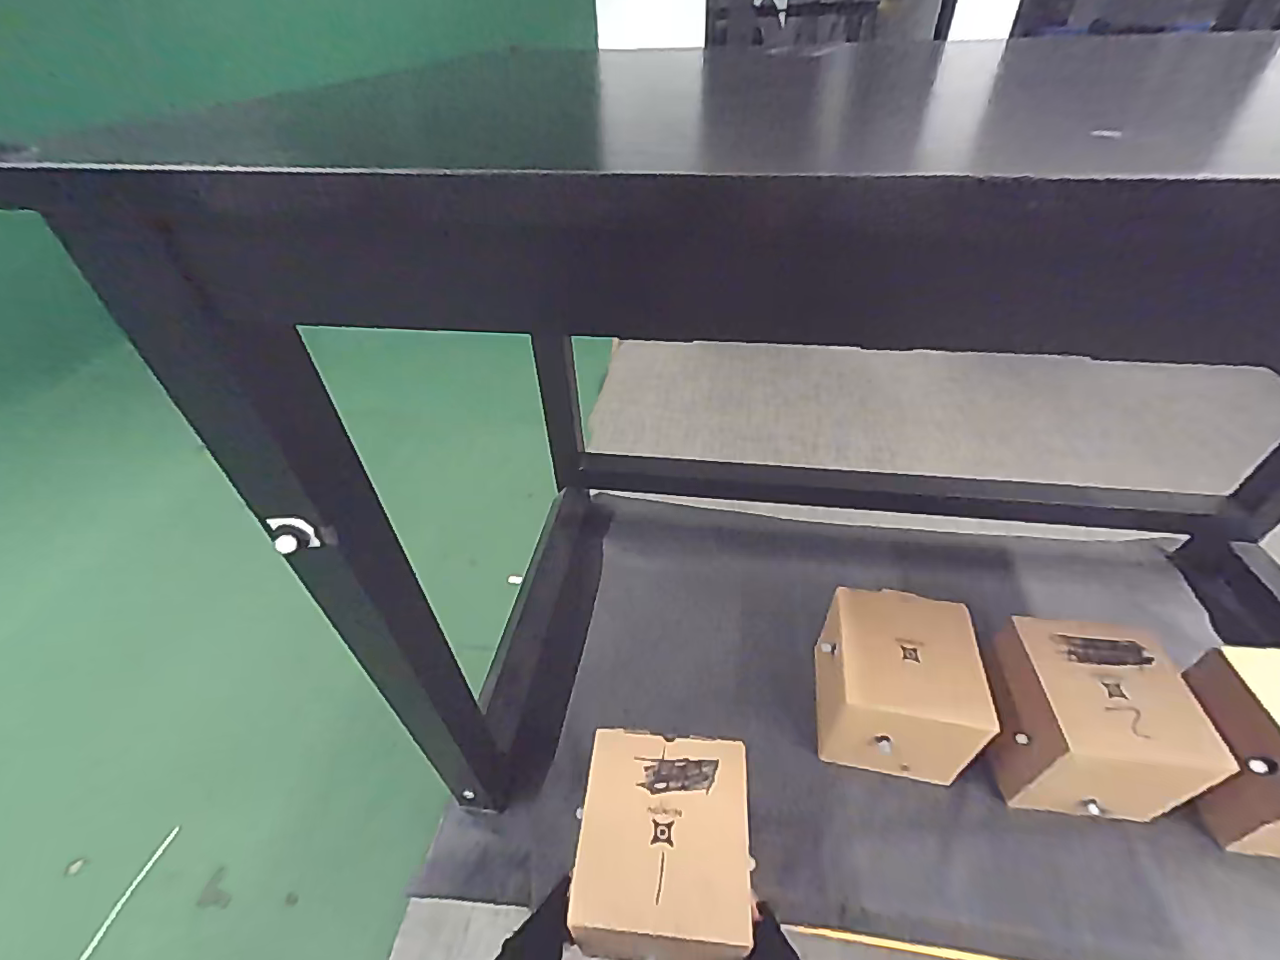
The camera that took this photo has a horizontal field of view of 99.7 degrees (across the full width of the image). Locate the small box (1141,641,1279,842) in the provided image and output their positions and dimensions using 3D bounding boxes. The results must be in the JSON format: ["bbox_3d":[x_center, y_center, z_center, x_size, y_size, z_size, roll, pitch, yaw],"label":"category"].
[{"bbox_3d":[0.776,0.320,0.648,0.168,0.176,0.179,3,41,6],"label":"small box"}]

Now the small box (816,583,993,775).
[{"bbox_3d":[0.339,0.269,0.732,0.168,0.176,0.179,7,42,10],"label":"small box"}]

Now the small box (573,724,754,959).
[{"bbox_3d":[0.029,0.398,0.593,0.168,0.176,0.179,3,42,5],"label":"small box"}]
